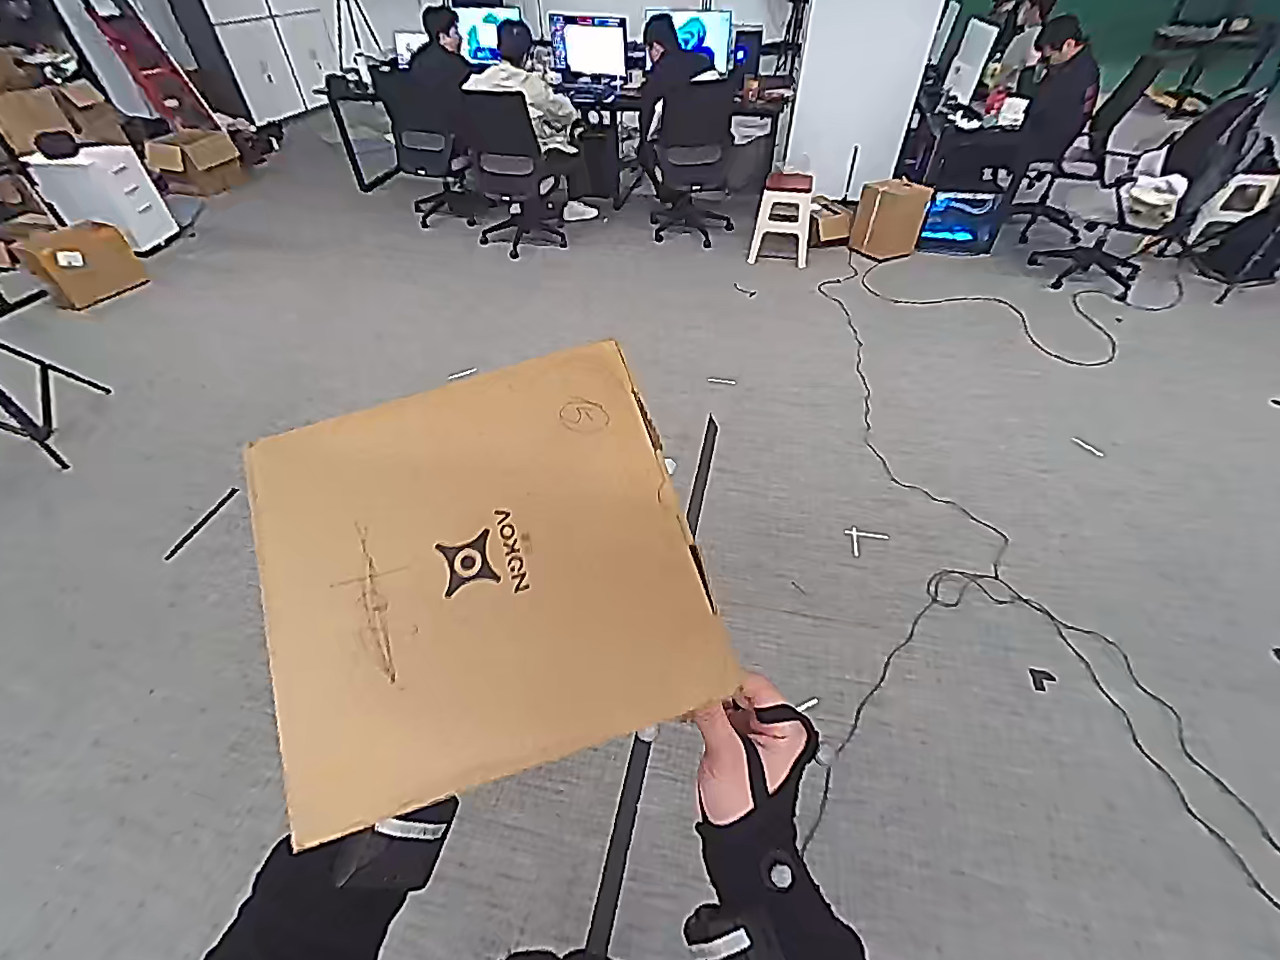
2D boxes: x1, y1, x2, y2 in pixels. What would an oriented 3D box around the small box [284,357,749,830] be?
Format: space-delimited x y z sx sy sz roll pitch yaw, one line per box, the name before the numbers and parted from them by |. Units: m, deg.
small box | -0.060 0.061 0.313 0.179 0.176 0.168 -18 71 -5
